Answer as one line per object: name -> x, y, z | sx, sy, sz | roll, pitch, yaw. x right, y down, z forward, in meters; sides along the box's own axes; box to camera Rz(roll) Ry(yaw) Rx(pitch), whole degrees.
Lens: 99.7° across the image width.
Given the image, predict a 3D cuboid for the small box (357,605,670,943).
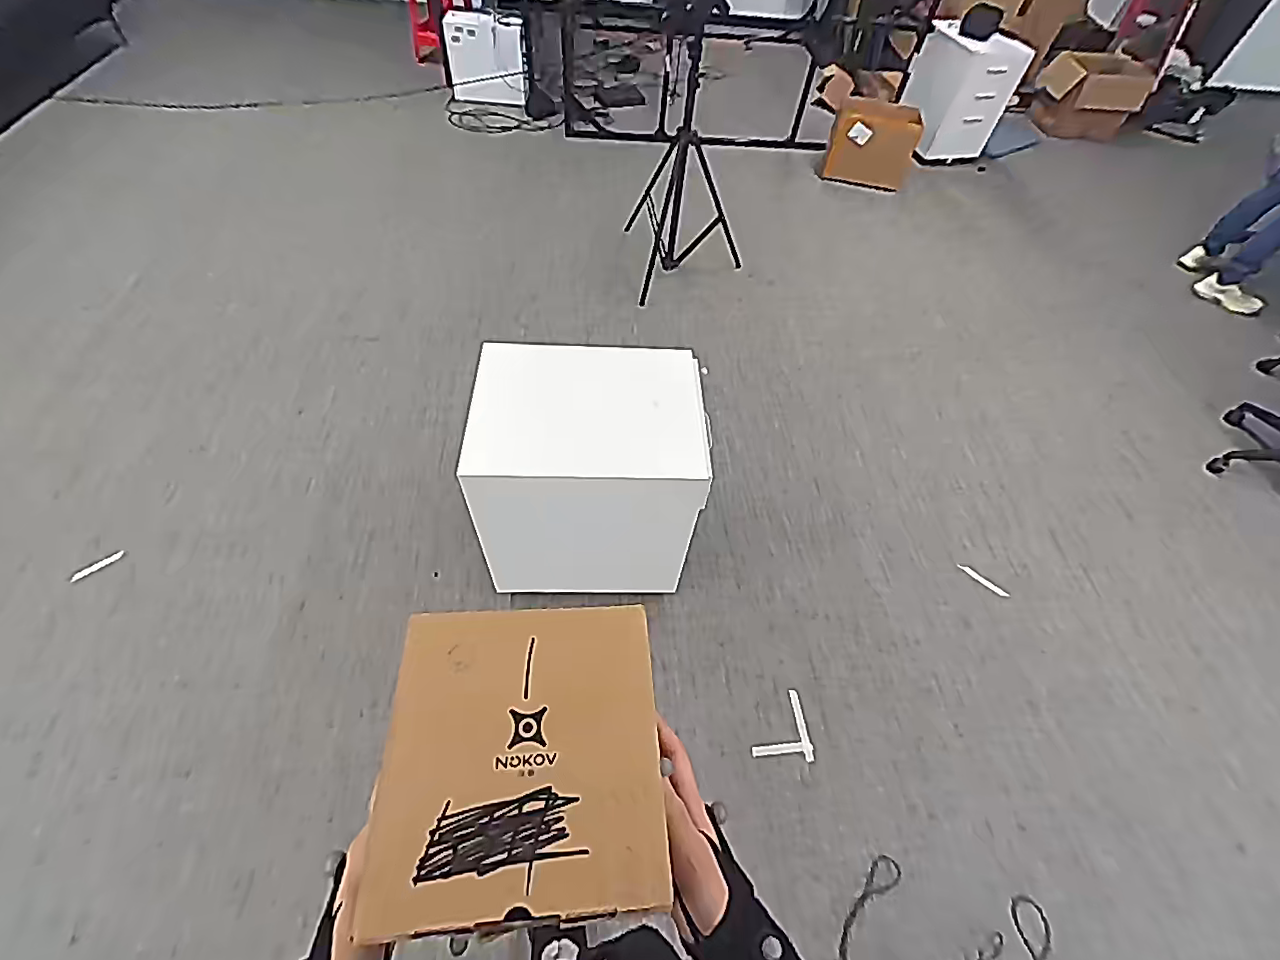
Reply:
small box -> -0.076, 0.209, 0.392 | 0.168, 0.176, 0.179 | 0, 52, -8
